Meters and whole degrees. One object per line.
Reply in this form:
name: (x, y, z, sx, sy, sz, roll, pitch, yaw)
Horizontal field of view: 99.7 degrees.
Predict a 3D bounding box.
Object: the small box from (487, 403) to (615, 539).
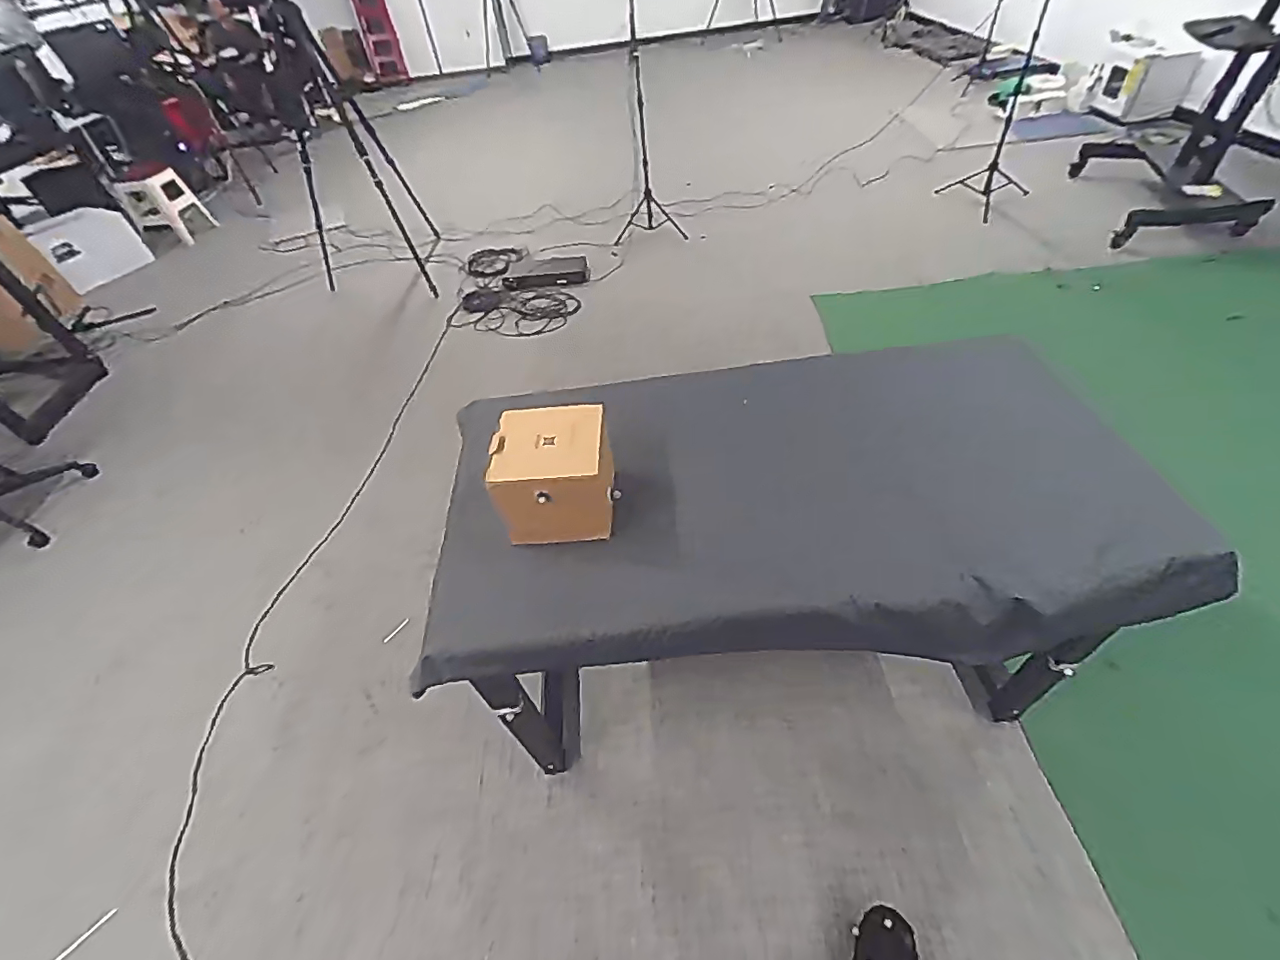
small box: (-0.141, -0.011, 0.927, 0.179, 0.176, 0.168, -3, 49, 3)
